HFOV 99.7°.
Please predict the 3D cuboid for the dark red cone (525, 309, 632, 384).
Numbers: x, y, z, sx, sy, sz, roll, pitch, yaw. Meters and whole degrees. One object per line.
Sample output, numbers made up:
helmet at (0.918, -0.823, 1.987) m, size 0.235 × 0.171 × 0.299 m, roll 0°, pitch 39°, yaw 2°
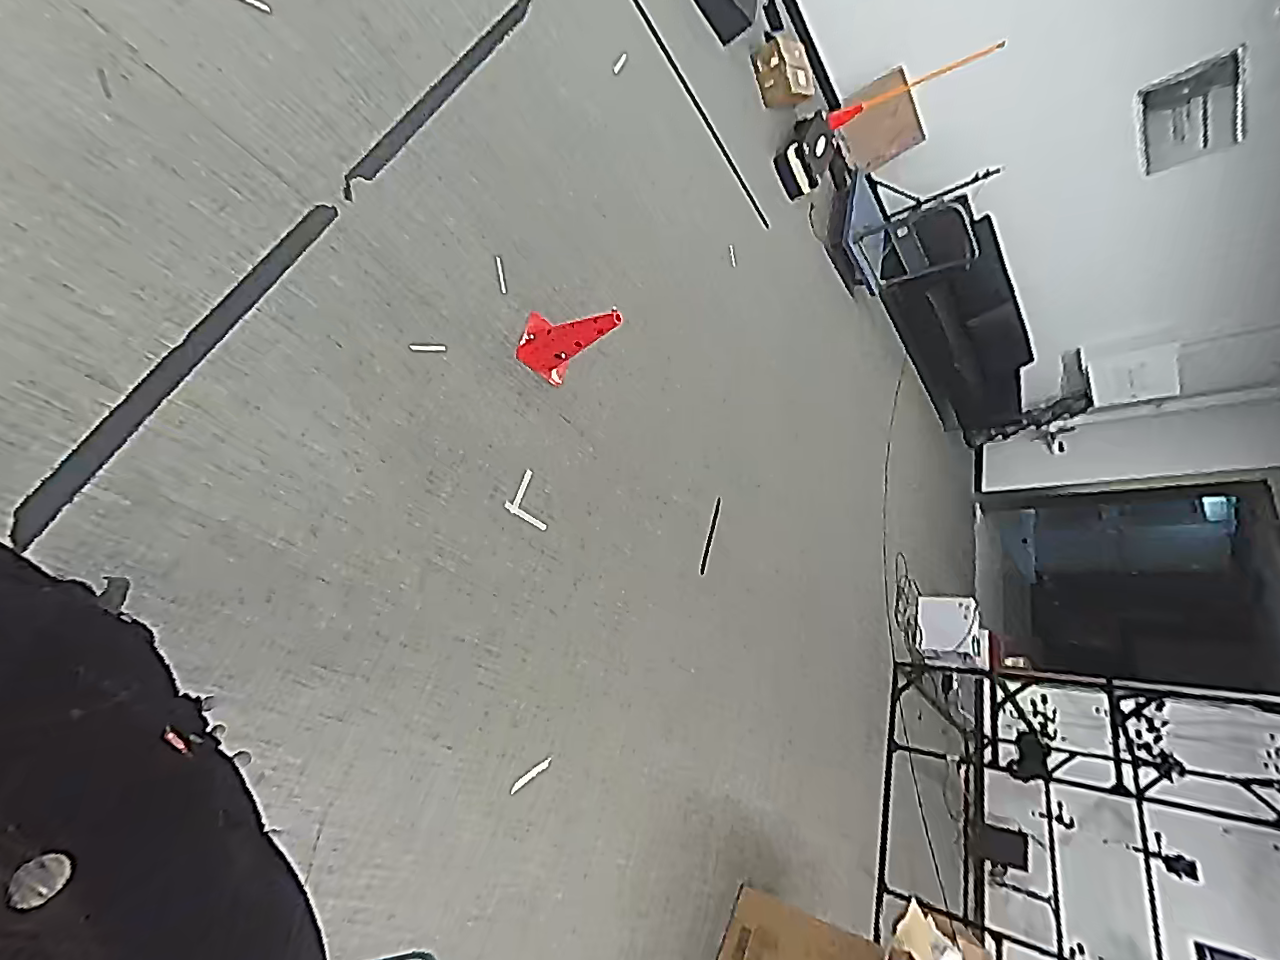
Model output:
dark red cone at (-0.175, -0.467, 1.726) m, size 0.201 × 0.394 × 0.202 m, roll 33°, pitch 60°, yaw -39°
